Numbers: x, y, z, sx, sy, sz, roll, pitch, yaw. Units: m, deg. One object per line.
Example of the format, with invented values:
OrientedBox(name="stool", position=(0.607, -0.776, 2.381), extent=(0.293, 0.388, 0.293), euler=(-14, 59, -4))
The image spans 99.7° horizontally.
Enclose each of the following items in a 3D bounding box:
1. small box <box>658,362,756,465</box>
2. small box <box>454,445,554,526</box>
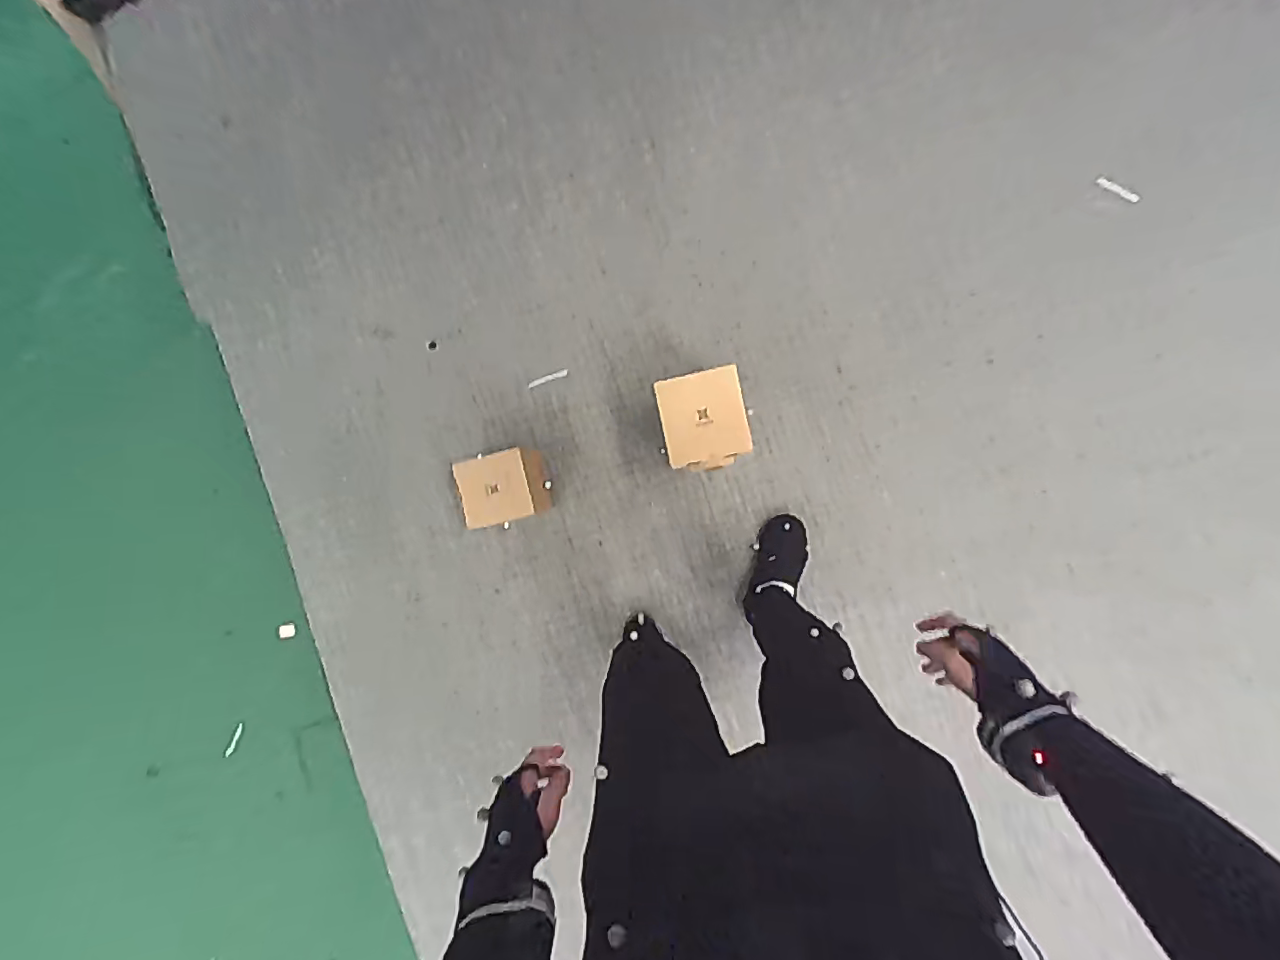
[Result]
OrientedBox(name="small box", position=(0.136, -0.131, 1.131), extent=(0.168, 0.176, 0.179), euler=(-12, 91, 7))
OrientedBox(name="small box", position=(-0.335, 0.012, 1.362), extent=(0.179, 0.176, 0.168), euler=(-13, 91, 7))
